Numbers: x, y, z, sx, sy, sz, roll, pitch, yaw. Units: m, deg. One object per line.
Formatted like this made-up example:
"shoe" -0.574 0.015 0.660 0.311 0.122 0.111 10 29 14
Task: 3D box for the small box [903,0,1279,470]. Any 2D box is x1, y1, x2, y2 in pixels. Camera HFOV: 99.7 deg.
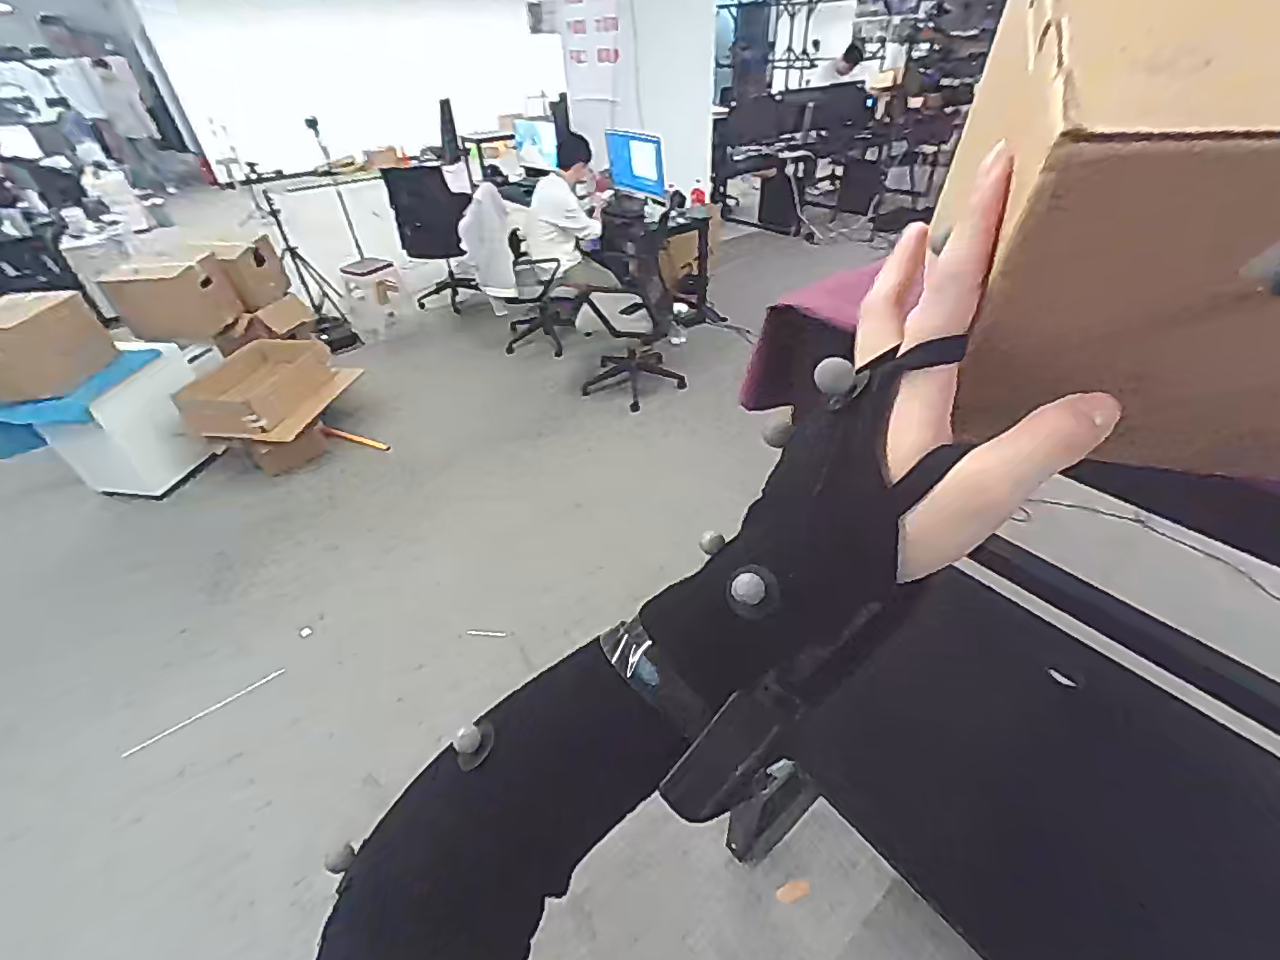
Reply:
"small box" 0.227 -0.119 0.234 0.179 0.176 0.168 9 66 16
